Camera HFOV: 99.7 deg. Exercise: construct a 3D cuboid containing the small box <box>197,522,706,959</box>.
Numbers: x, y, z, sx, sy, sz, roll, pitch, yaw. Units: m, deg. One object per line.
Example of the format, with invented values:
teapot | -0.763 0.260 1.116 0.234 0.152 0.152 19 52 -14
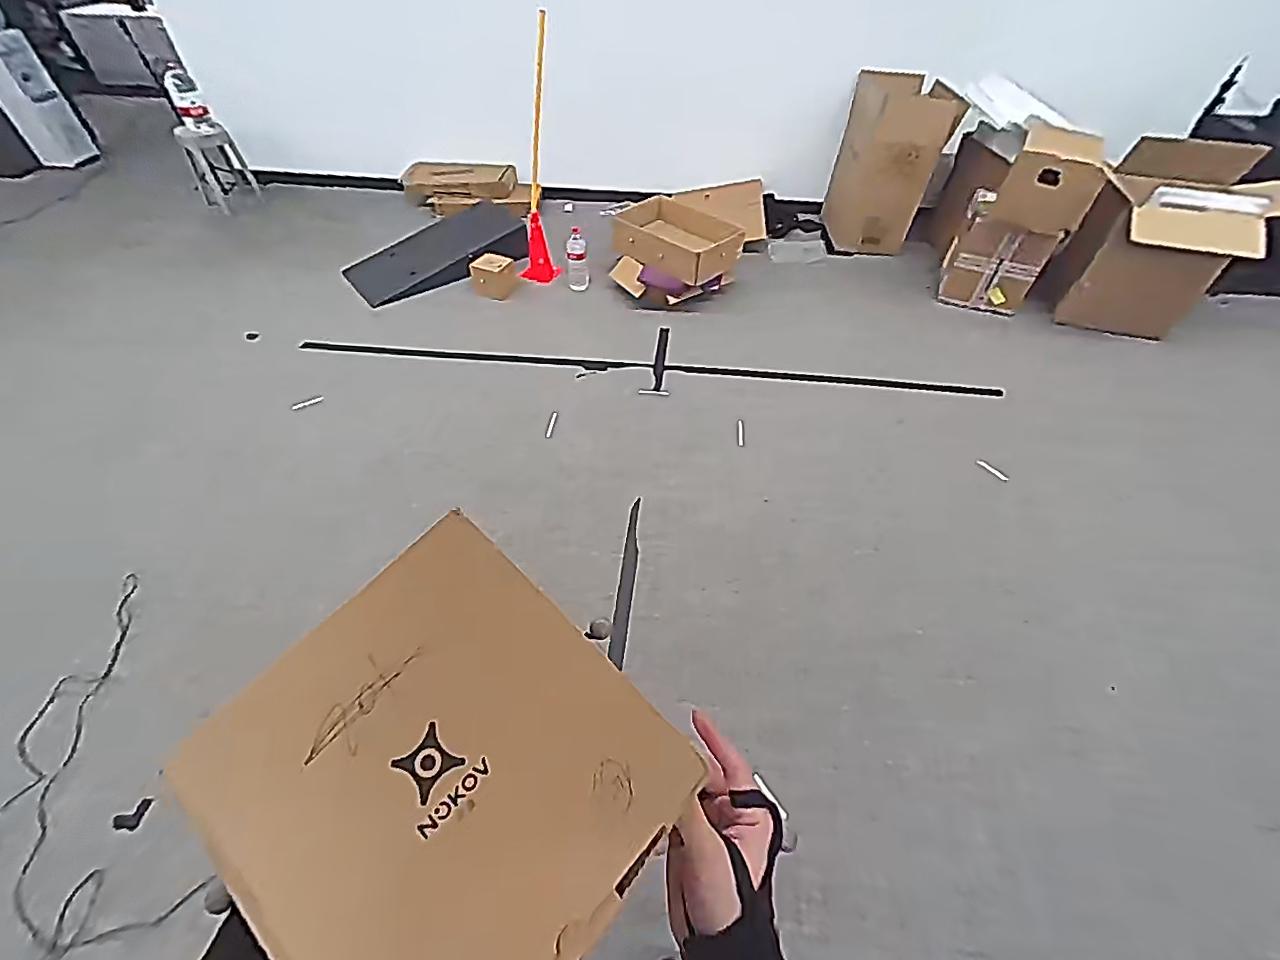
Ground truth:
small box | -0.084 0.158 0.318 0.179 0.176 0.168 40 72 16
